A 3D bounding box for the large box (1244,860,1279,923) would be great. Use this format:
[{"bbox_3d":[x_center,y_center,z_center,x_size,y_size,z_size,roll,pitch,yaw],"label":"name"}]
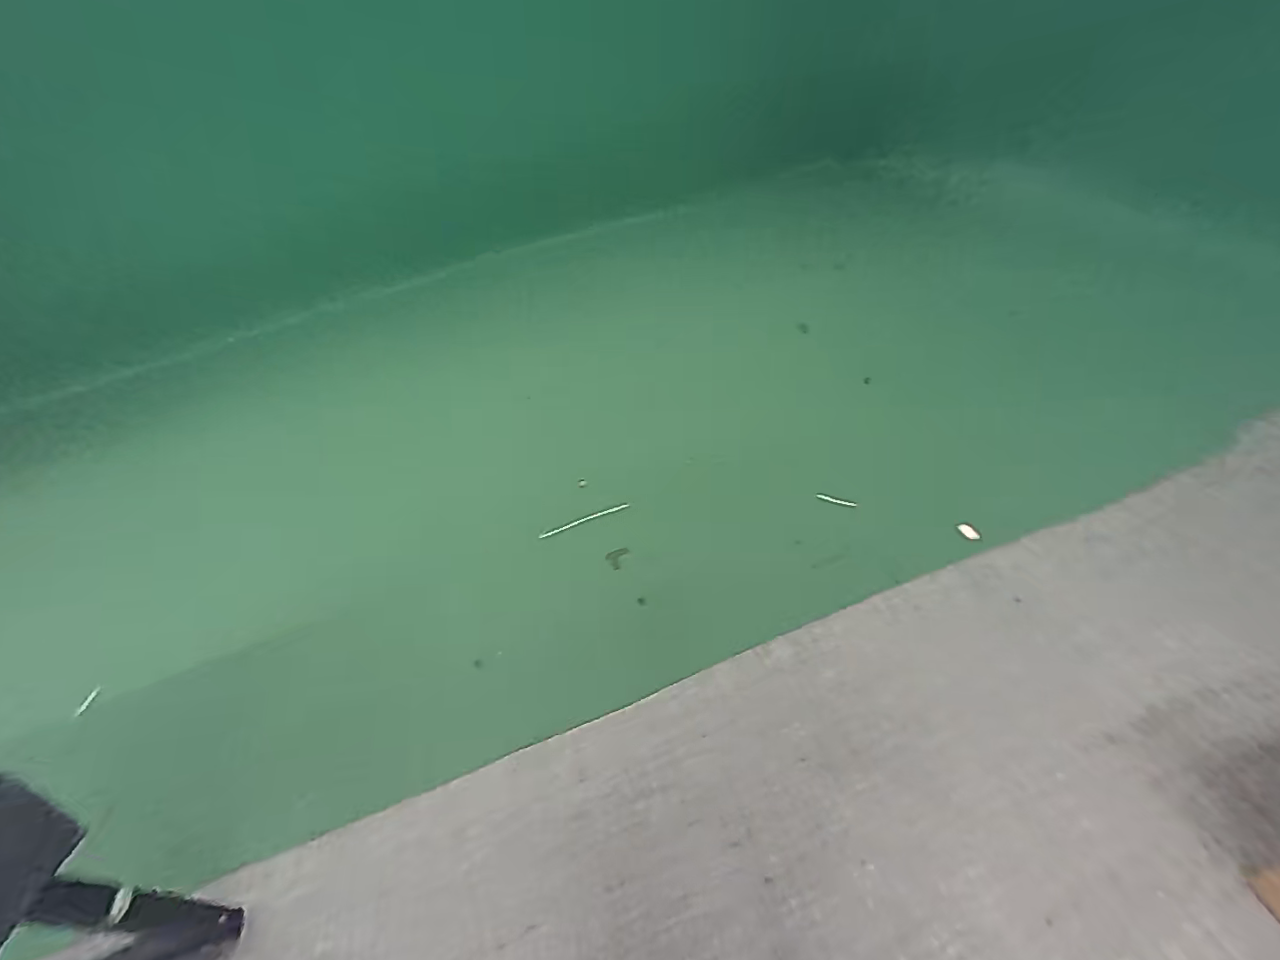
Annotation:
[{"bbox_3d":[1.253,0.701,0.746,0.320,0.320,0.408,-18,46,-3],"label":"large box"}]
